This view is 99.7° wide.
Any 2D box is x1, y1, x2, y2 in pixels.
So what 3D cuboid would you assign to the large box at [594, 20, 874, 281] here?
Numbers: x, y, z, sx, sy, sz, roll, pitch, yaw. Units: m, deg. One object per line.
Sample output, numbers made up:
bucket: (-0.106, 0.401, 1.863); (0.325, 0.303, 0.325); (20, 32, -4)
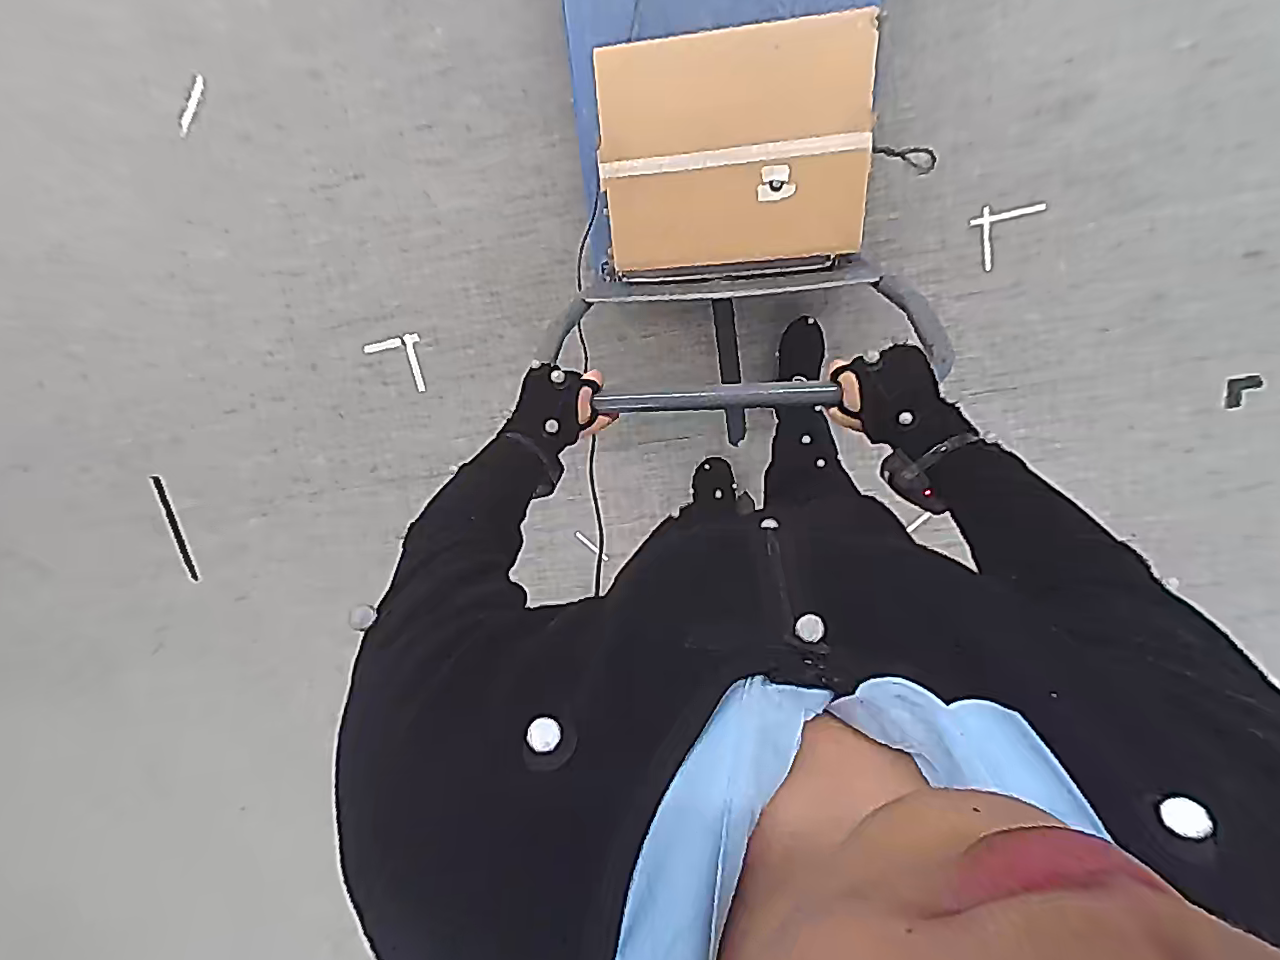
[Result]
large box: (0.156, -0.552, 0.968); (0.408, 0.320, 0.320); (-1, 117, 8)
